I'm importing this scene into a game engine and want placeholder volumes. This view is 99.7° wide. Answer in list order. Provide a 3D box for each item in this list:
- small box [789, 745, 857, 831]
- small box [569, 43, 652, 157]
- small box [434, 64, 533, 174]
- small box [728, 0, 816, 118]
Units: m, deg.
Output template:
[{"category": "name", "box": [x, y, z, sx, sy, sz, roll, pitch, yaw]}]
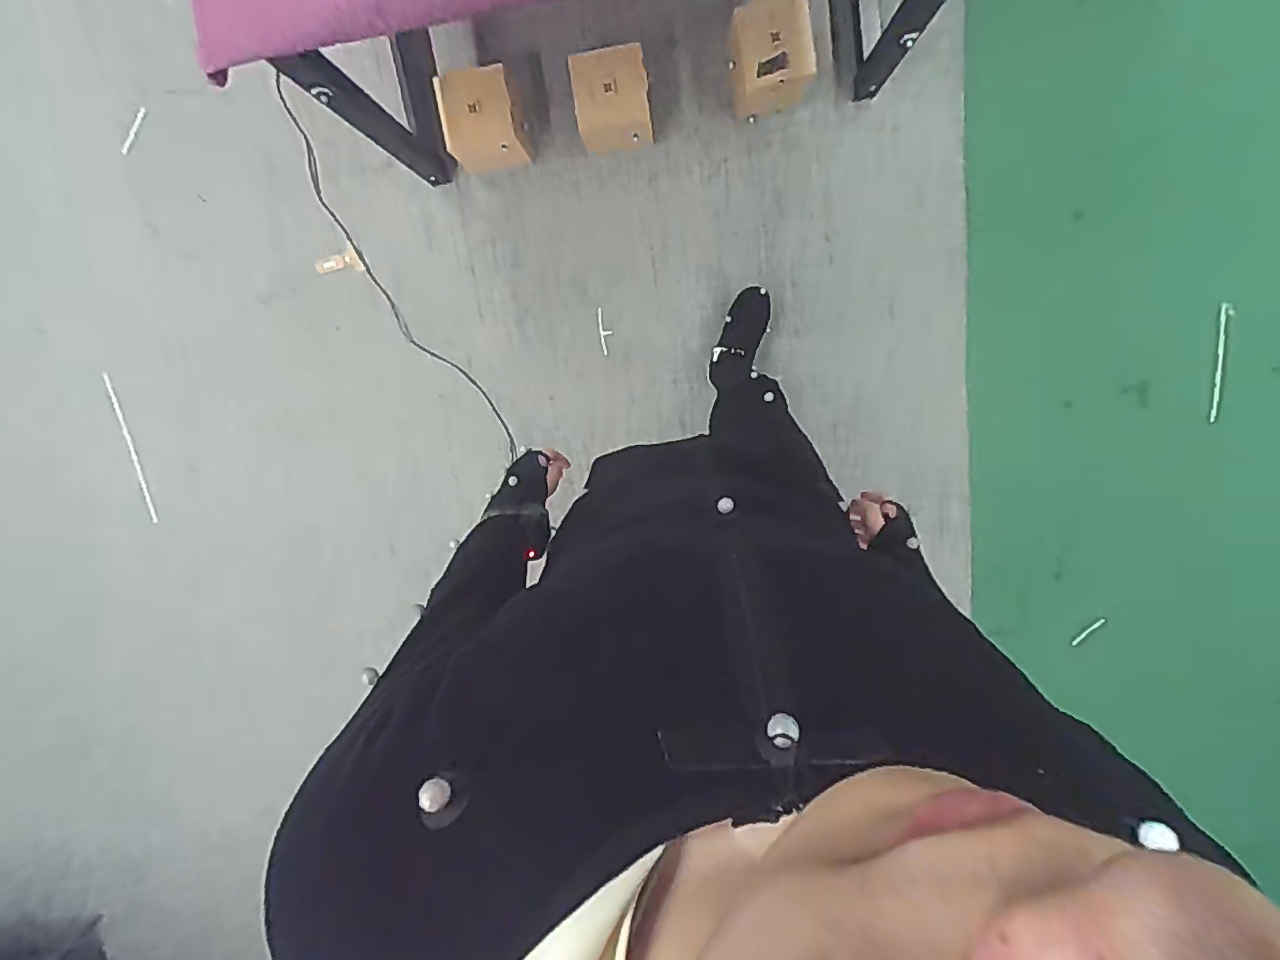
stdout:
[{"category": "small box", "box": [0.564, 0.947, 1.678, 0.168, 0.176, 0.179, -5, 101, 5]}, {"category": "small box", "box": [-0.065, -0.927, 1.334, 0.179, 0.176, 0.168, -7, 100, 6]}, {"category": "small box", "box": [-0.388, -0.898, 1.363, 0.179, 0.176, 0.168, -8, 101, 5]}, {"category": "small box", "box": [0.310, -1.000, 1.292, 0.168, 0.176, 0.179, -11, 100, 6]}]
